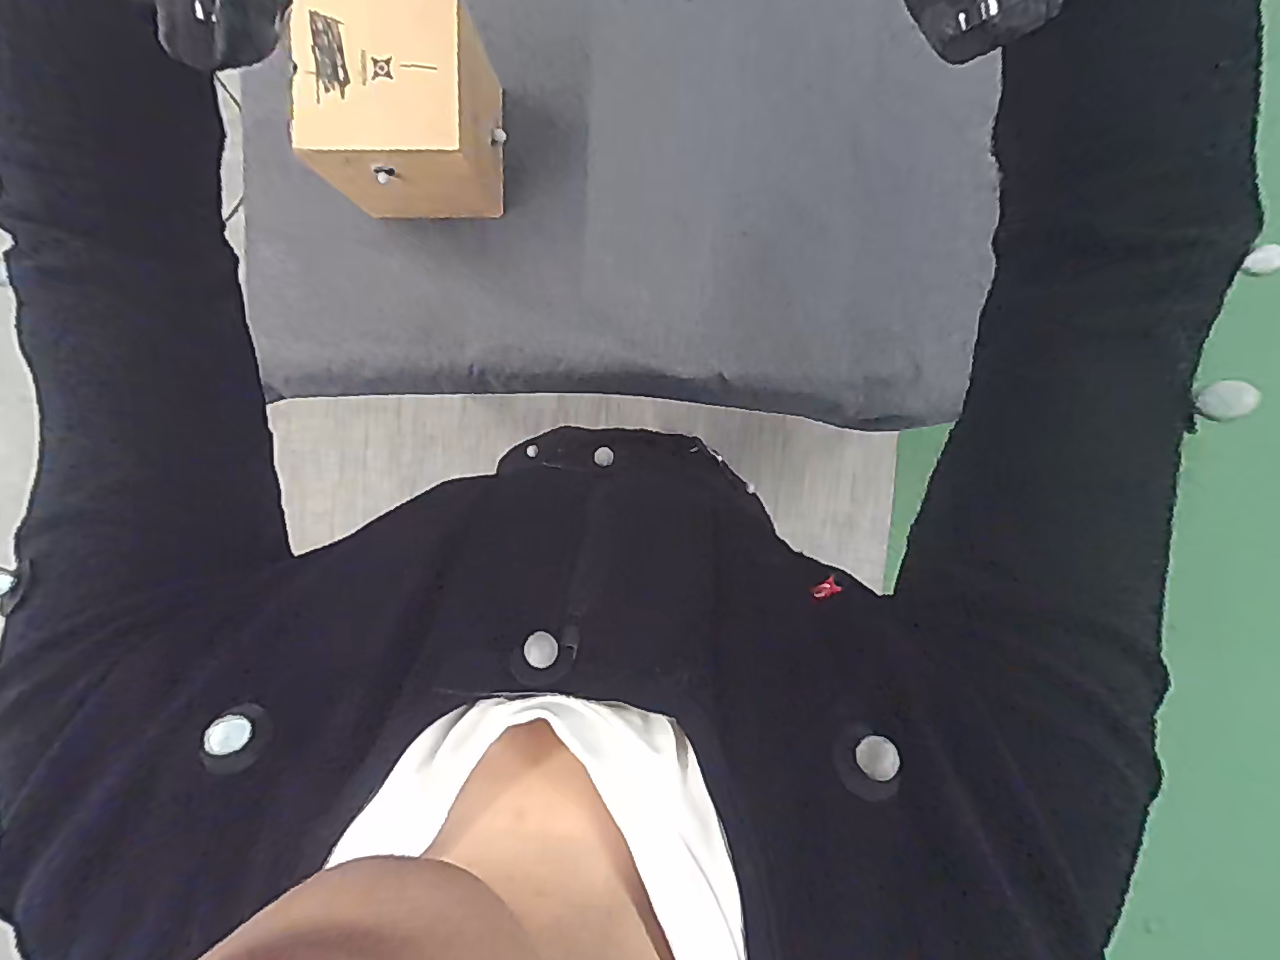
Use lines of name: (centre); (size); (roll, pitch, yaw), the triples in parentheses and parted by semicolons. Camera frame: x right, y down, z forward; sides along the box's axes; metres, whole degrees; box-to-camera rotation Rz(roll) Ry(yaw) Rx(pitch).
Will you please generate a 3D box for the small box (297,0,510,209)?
small box: (-0.261, -0.433, 0.629); (0.179, 0.176, 0.168); (1, 95, 1)
